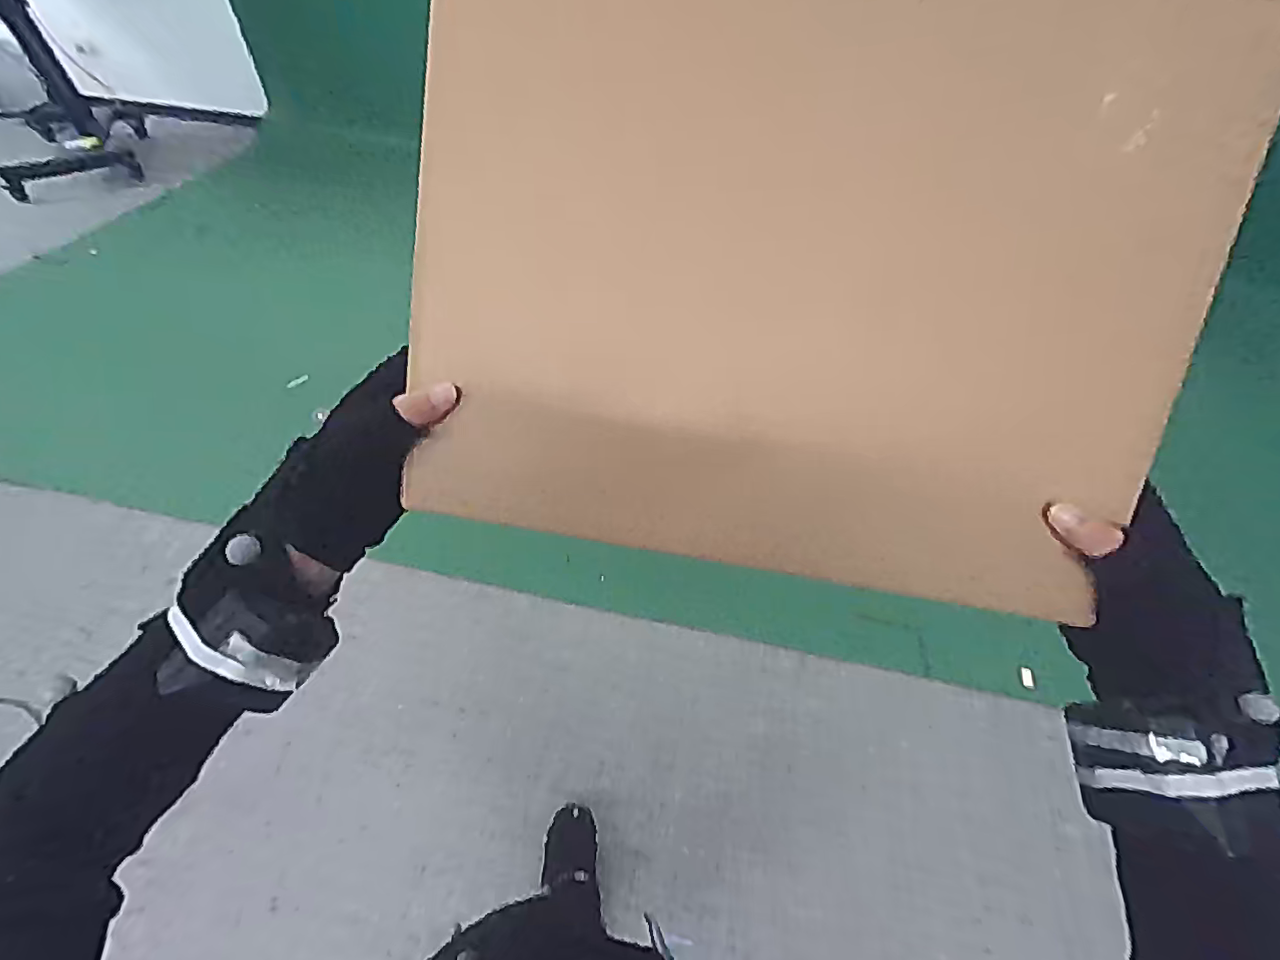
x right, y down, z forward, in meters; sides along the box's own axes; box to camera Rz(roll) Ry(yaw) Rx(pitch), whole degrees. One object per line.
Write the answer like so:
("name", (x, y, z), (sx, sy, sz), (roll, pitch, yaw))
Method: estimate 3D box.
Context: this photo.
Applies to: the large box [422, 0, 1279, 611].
("large box", (0.095, -0.130, 0.427), (0.408, 0.320, 0.320), (11, 14, 0))
